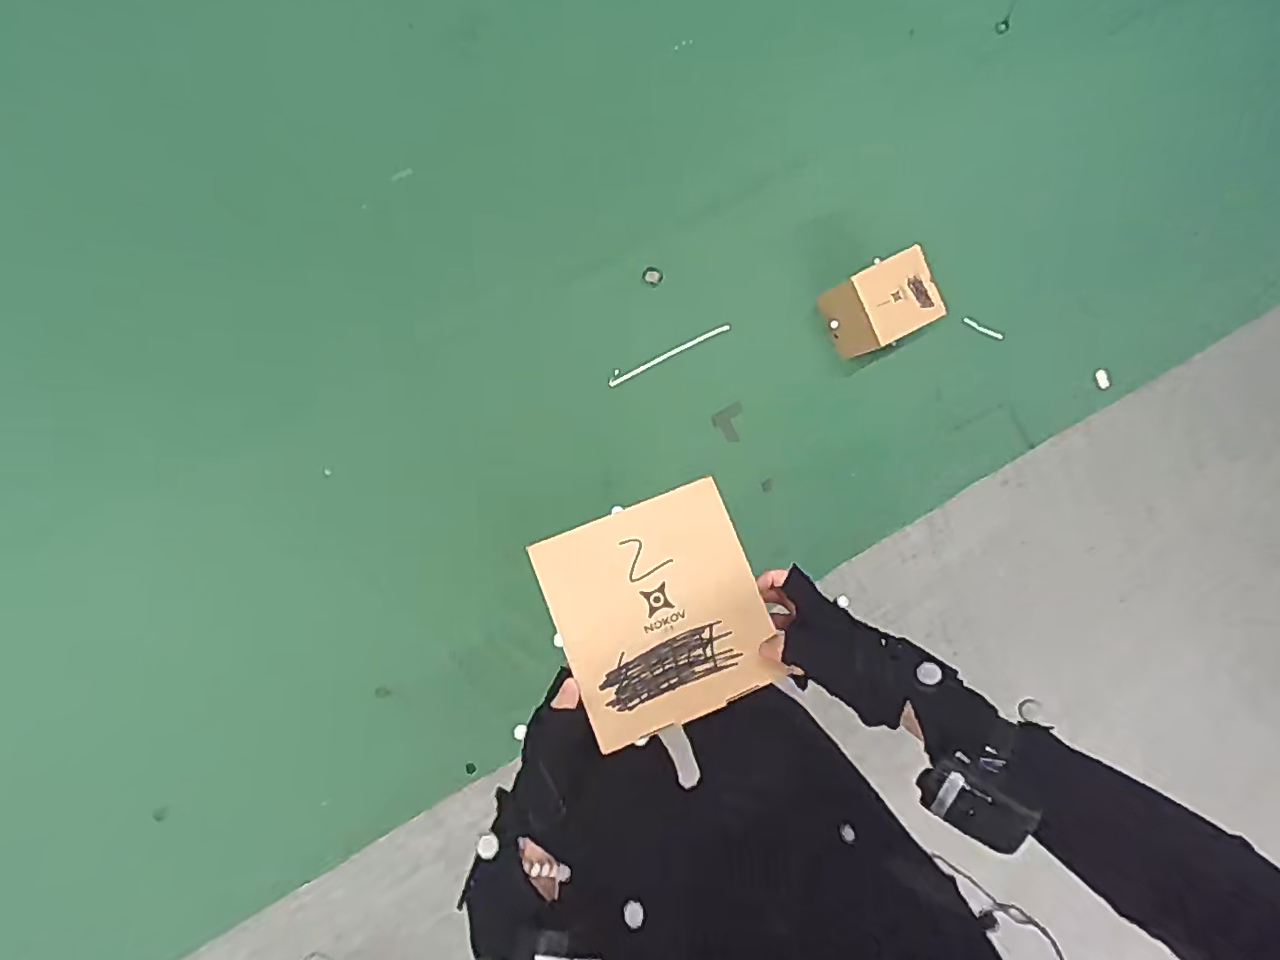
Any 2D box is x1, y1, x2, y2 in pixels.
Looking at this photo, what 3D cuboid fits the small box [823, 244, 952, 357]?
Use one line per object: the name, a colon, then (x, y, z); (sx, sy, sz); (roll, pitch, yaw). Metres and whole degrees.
small box: (0.552, -0.398, 1.223); (0.179, 0.176, 0.168); (-27, 96, -6)
